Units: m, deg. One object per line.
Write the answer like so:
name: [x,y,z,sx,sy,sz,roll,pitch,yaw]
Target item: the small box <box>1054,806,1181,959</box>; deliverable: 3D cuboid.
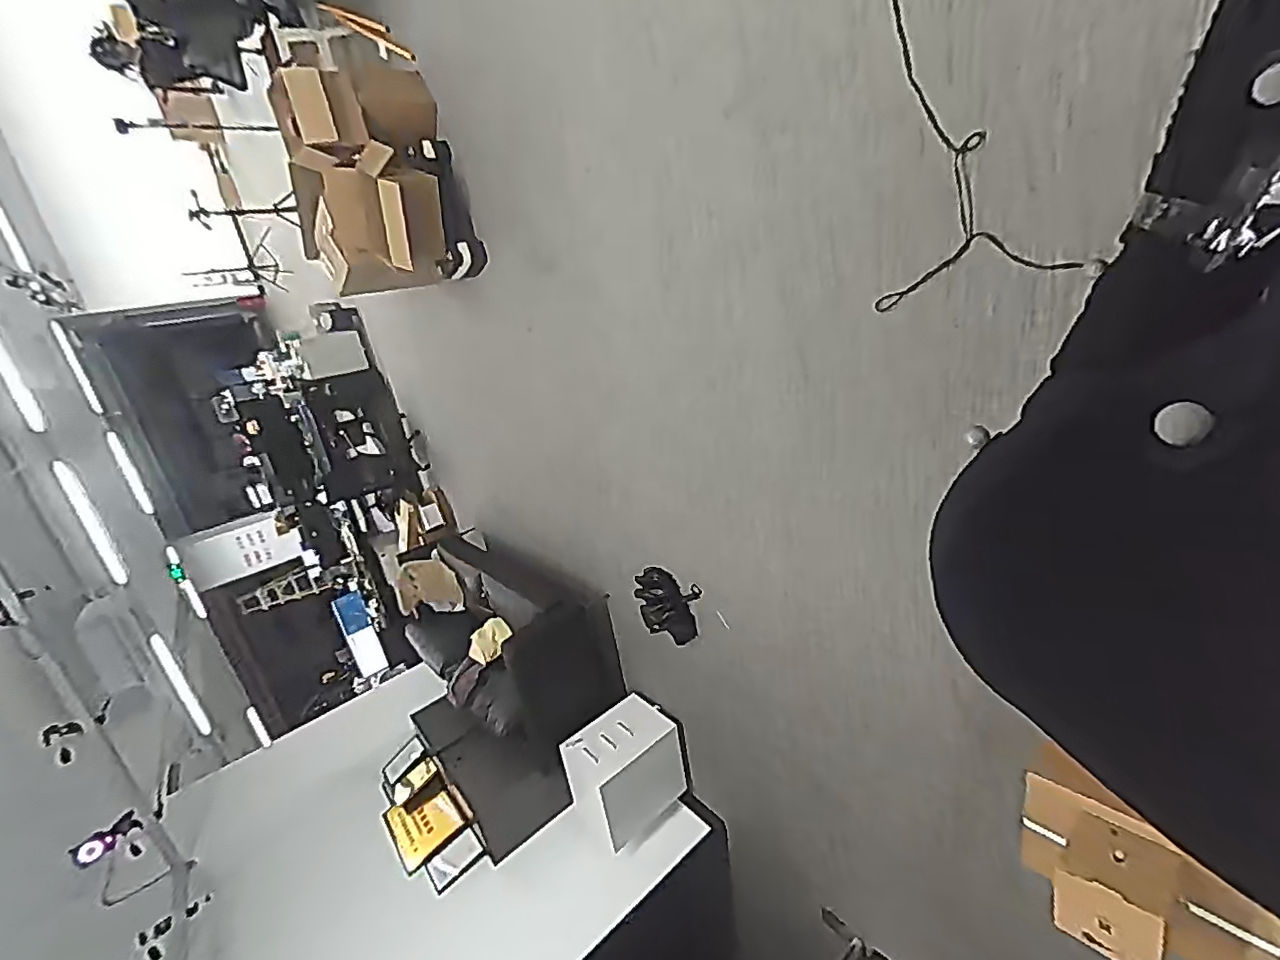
small box: [0.975,0.821,1.106,0.168,0.176,0.179,9,116,52]
